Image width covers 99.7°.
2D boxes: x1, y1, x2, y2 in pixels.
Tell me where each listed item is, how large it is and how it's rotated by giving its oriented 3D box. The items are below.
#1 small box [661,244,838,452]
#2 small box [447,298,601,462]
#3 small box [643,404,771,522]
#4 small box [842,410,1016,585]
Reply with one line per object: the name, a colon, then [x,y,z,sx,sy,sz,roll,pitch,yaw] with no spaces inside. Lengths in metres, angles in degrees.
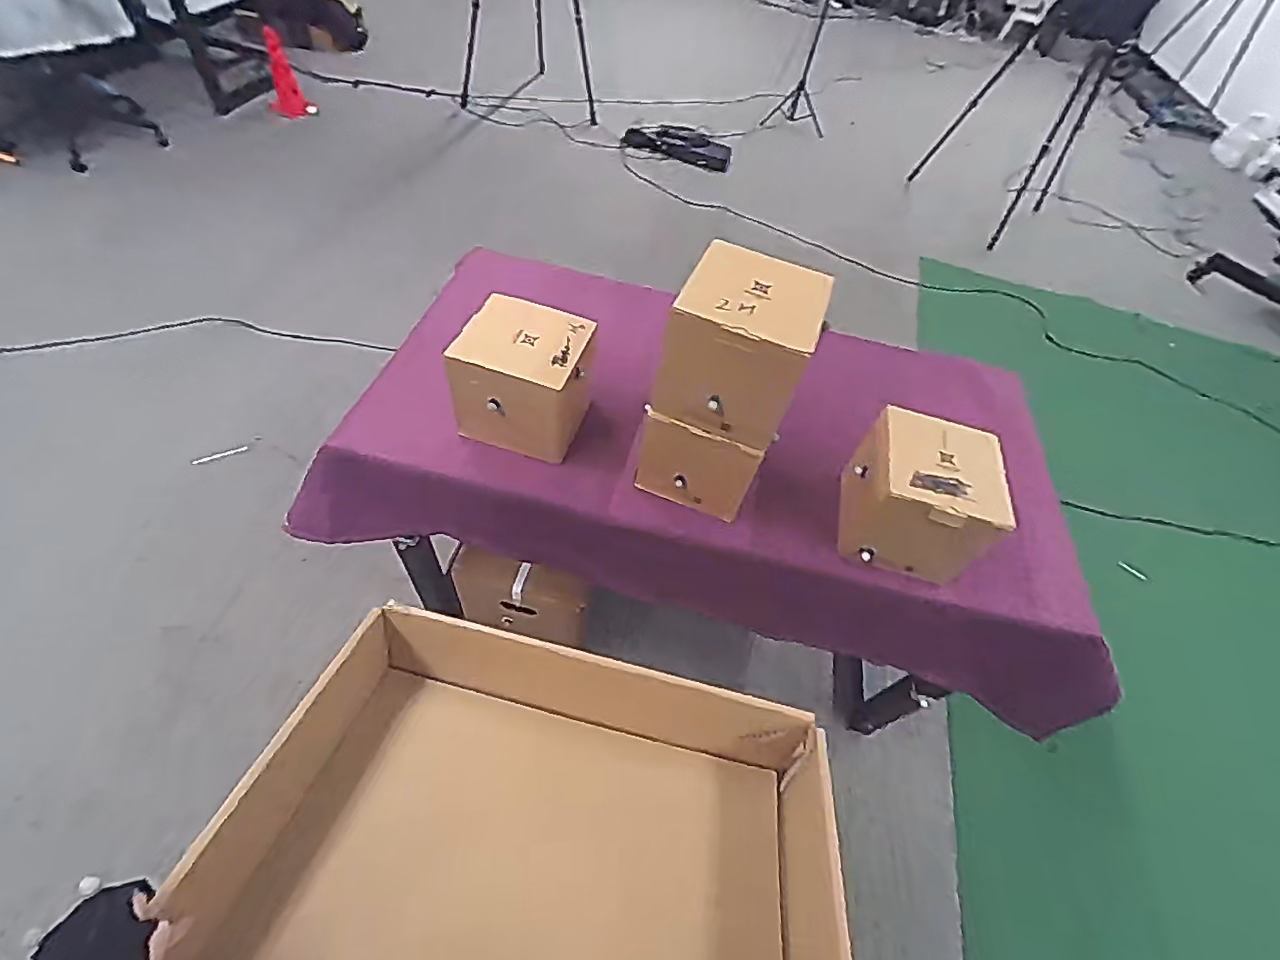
small box: [0.136,-0.171,0.710,0.168,0.176,0.179,21,54,8]
small box: [-0.173,-0.153,0.853,0.179,0.176,0.168,17,53,5]
small box: [0.113,-0.068,0.837,0.168,0.176,0.179,21,54,7]
small box: [0.416,0.031,0.807,0.168,0.176,0.179,17,52,4]
